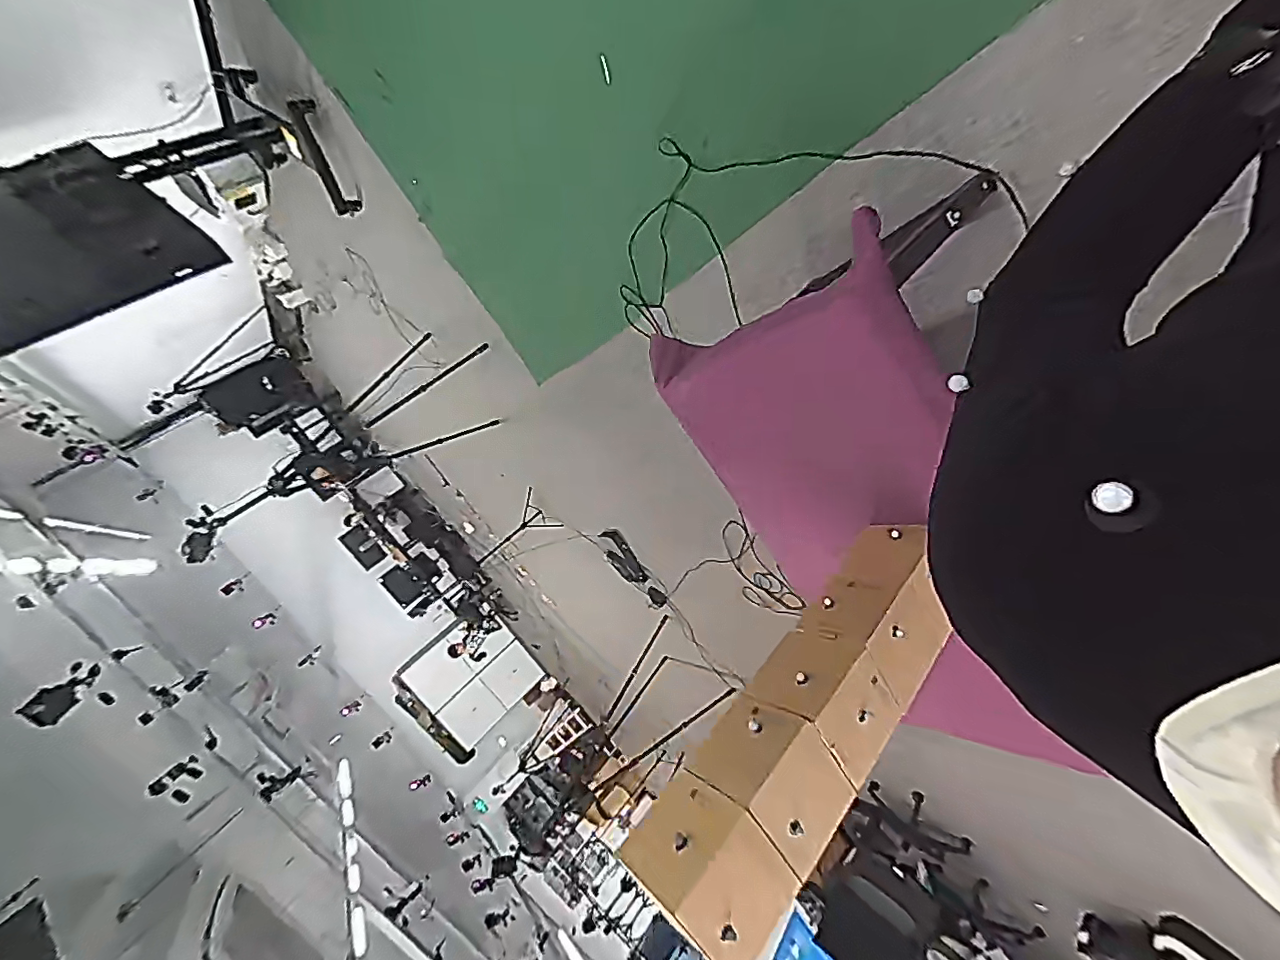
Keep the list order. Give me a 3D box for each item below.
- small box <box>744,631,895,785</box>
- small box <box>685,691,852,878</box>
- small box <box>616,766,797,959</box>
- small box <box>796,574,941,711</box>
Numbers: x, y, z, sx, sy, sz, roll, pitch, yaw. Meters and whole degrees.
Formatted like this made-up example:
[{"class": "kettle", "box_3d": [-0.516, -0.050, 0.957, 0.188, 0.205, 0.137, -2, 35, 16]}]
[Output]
[{"class": "small box", "box_3d": [0.328, 0.395, 0.971, 0.179, 0.176, 0.168, -8, 118, 58]}, {"class": "small box", "box_3d": [0.216, 0.490, 0.897, 0.179, 0.176, 0.168, 57, 152, -13]}, {"class": "small box", "box_3d": [0.102, 0.579, 0.822, 0.179, 0.176, 0.168, 56, 152, -14]}, {"class": "small box", "box_3d": [0.440, 0.300, 1.041, 0.168, 0.176, 0.179, -7, 119, 58]}]
